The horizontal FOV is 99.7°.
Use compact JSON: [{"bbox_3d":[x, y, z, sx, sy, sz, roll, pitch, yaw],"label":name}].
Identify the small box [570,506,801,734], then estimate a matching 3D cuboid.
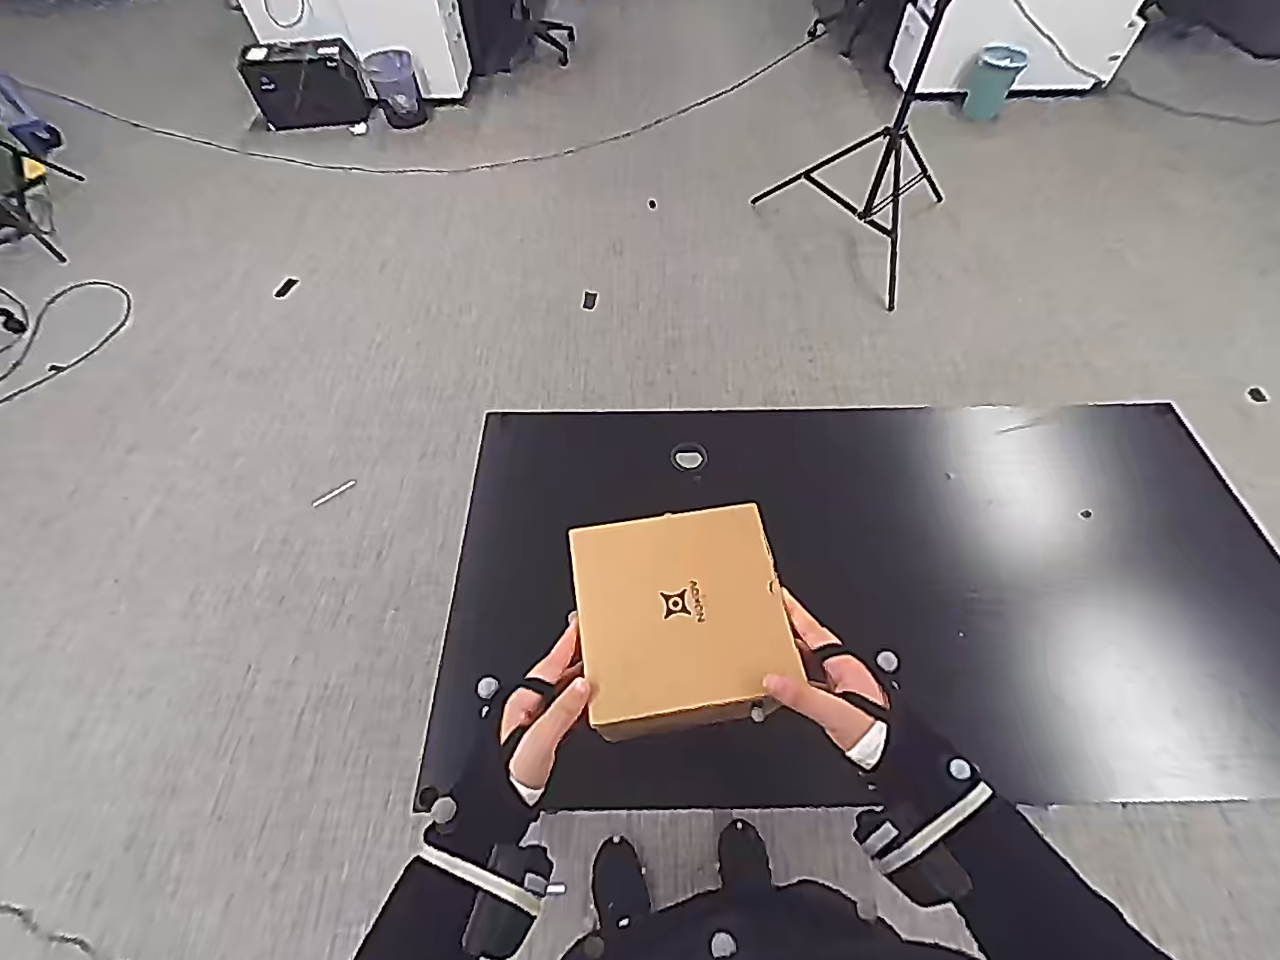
[{"bbox_3d":[0.033,0.144,0.533,0.179,0.176,0.168,-8,62,-5],"label":"small box"}]
